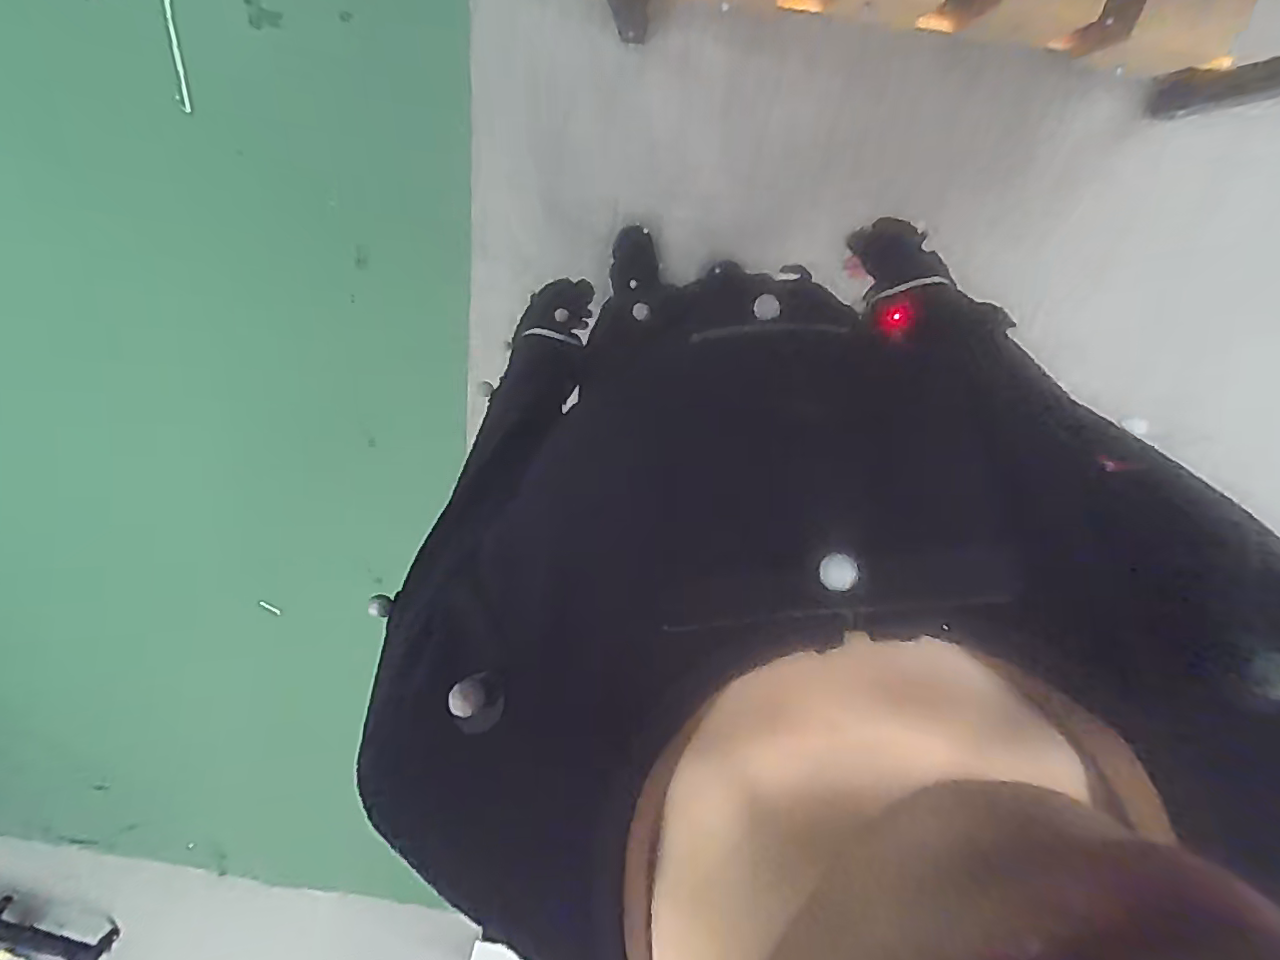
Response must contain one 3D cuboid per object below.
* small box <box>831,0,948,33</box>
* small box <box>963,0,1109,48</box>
[{"bbox_3d":[0.439,-0.895,0.914,0.168,0.176,0.179,9,116,-1],"label":"small box"},{"bbox_3d":[0.683,-0.862,0.911,0.168,0.176,0.179,9,116,1],"label":"small box"}]
